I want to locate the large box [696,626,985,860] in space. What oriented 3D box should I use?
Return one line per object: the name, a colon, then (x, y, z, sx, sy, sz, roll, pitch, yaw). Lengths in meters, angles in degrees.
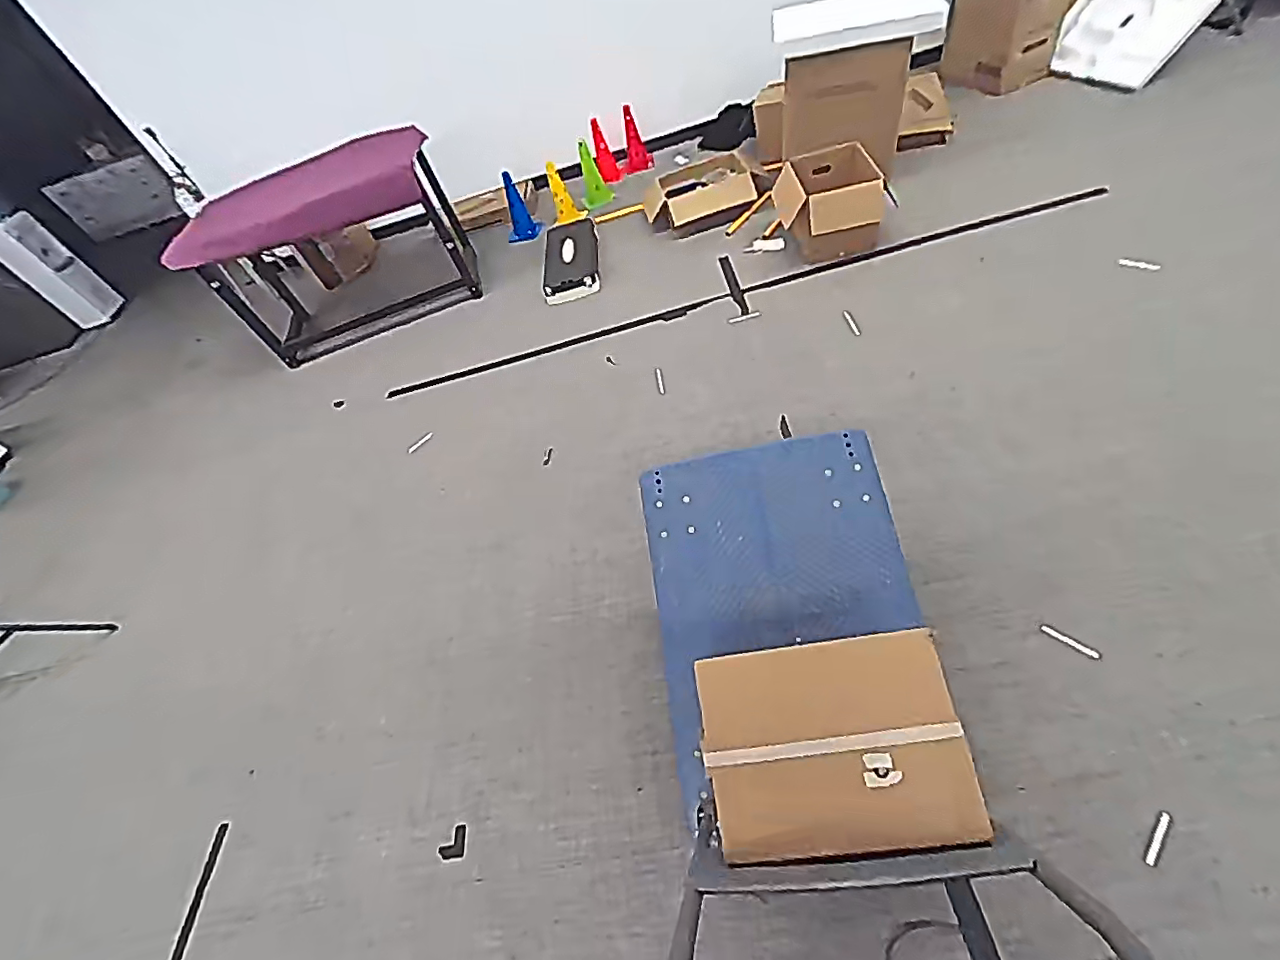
large box: (0.341, 0.479, 1.038, 0.408, 0.320, 0.320, -11, 71, 7)
